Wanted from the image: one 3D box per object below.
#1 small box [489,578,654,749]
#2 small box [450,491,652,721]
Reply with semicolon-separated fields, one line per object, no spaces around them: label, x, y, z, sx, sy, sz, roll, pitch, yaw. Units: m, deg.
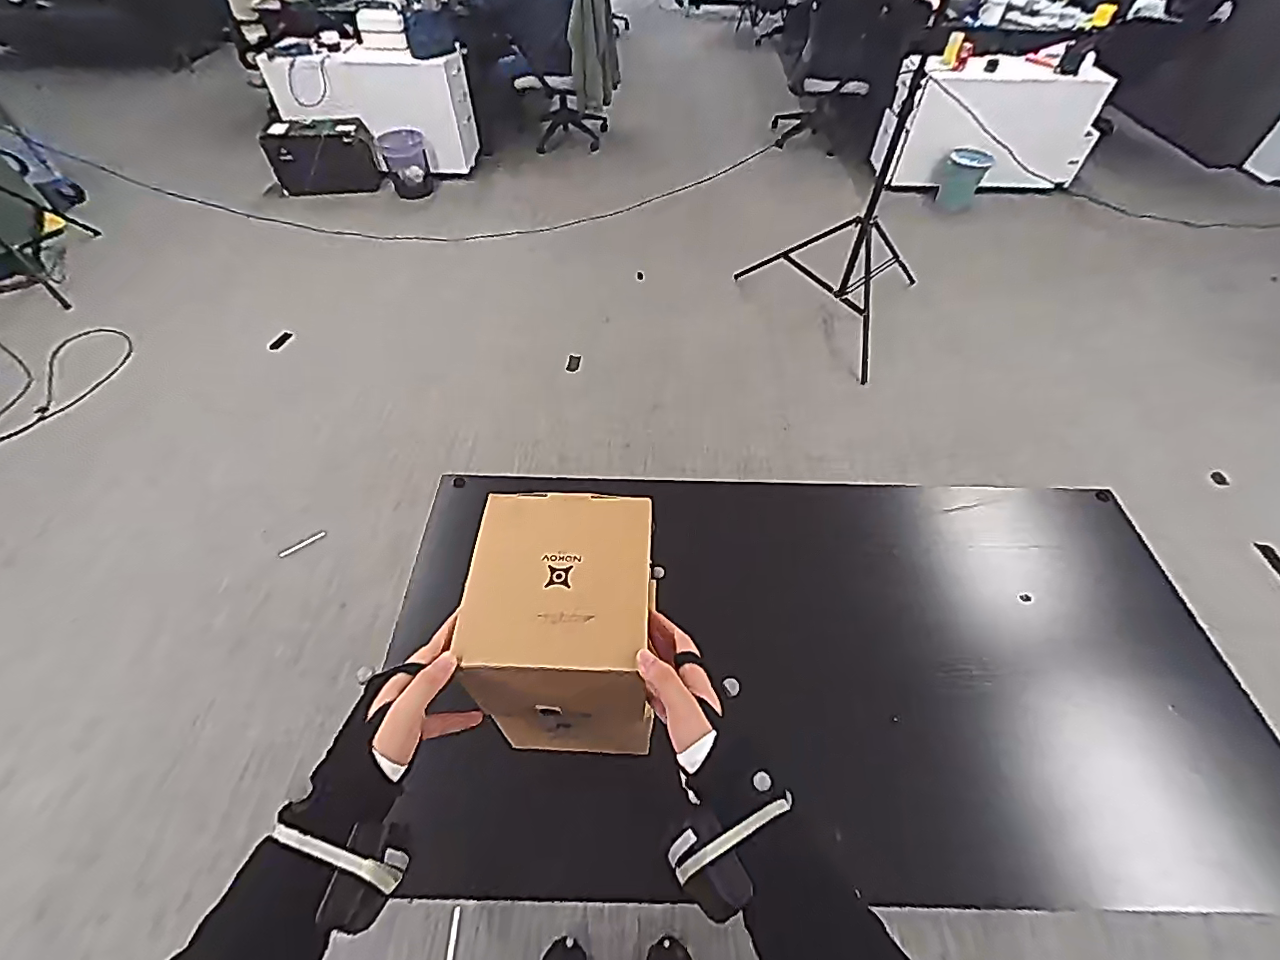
small box;-0.073;0.232;0.687;0.179;0.176;0.168;3;51;0
small box;-0.075;0.132;0.559;0.168;0.176;0.179;2;53;1
